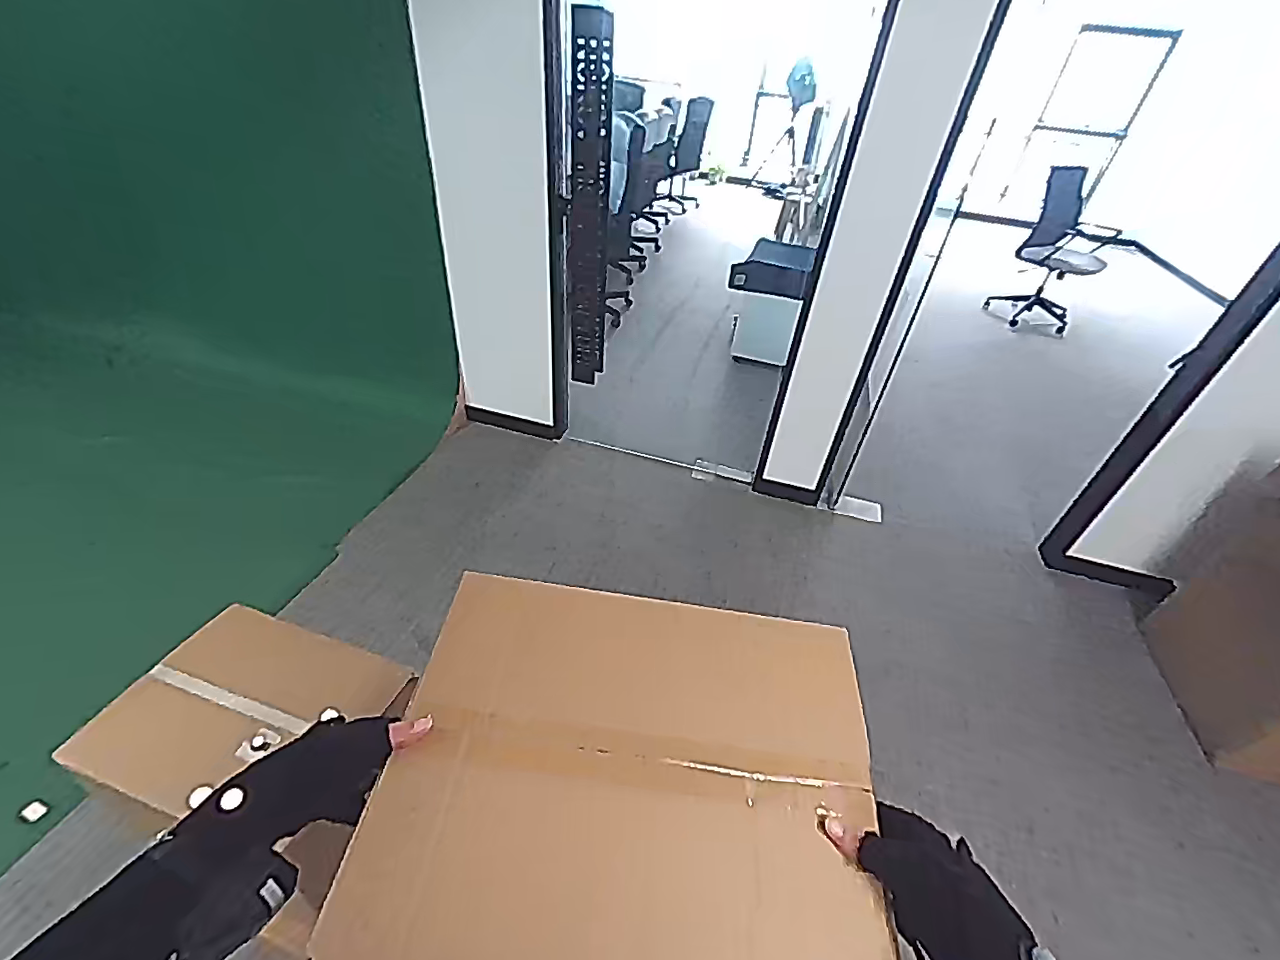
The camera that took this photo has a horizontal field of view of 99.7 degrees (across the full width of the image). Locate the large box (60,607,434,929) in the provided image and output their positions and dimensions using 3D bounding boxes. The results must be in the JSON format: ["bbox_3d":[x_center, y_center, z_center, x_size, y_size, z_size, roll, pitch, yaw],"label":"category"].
[{"bbox_3d":[-0.639,0.491,0.958,0.408,0.320,0.320,16,36,11],"label":"large box"}]
